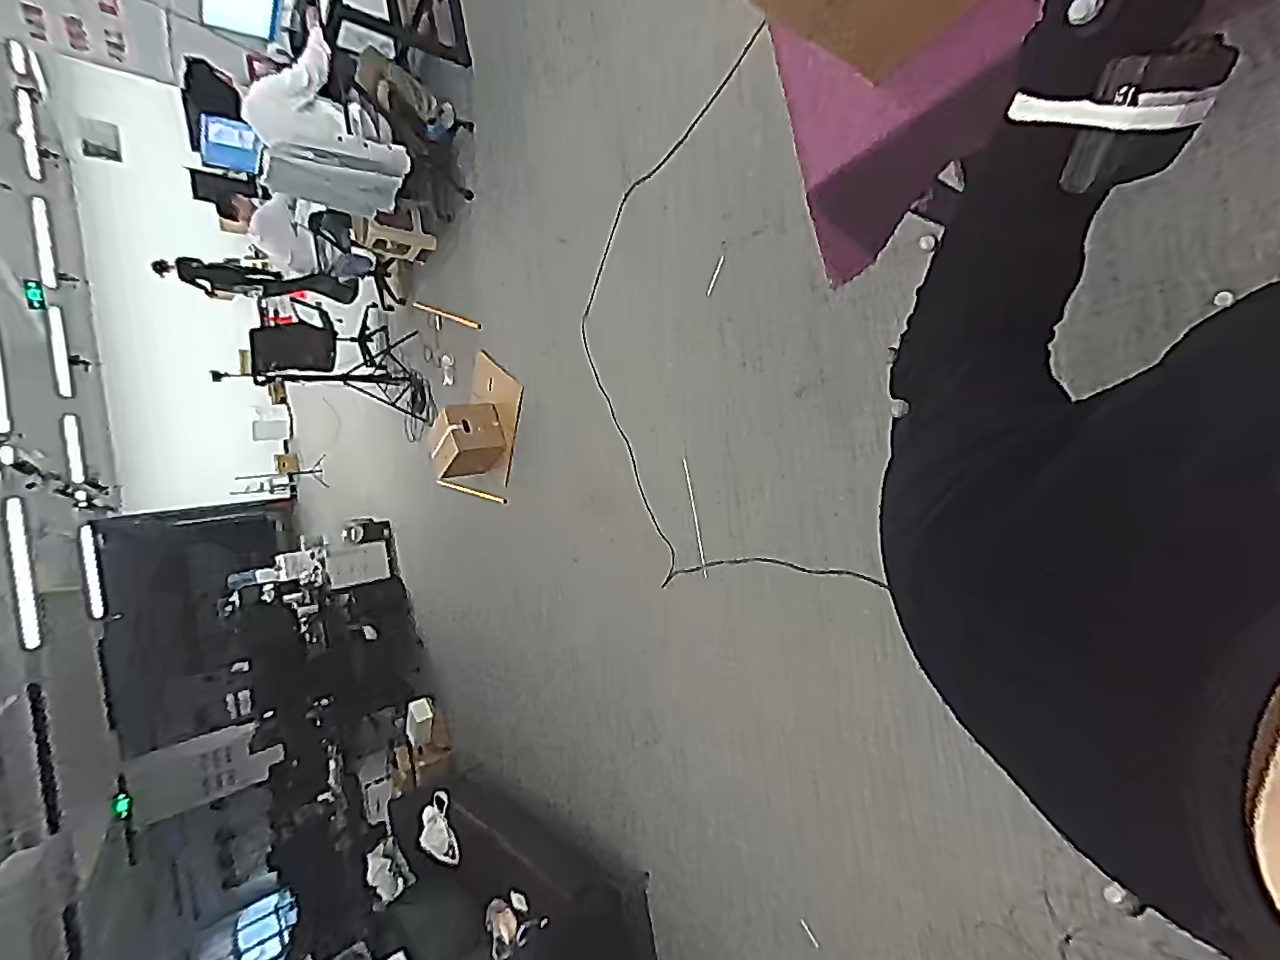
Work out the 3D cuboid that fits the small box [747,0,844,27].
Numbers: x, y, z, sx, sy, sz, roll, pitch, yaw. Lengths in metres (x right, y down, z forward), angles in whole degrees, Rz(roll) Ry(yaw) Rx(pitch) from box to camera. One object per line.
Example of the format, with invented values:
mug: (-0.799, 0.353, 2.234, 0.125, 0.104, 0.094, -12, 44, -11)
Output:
small box: (0.175, -0.628, 0.563, 0.168, 0.176, 0.179, -18, 82, 49)
